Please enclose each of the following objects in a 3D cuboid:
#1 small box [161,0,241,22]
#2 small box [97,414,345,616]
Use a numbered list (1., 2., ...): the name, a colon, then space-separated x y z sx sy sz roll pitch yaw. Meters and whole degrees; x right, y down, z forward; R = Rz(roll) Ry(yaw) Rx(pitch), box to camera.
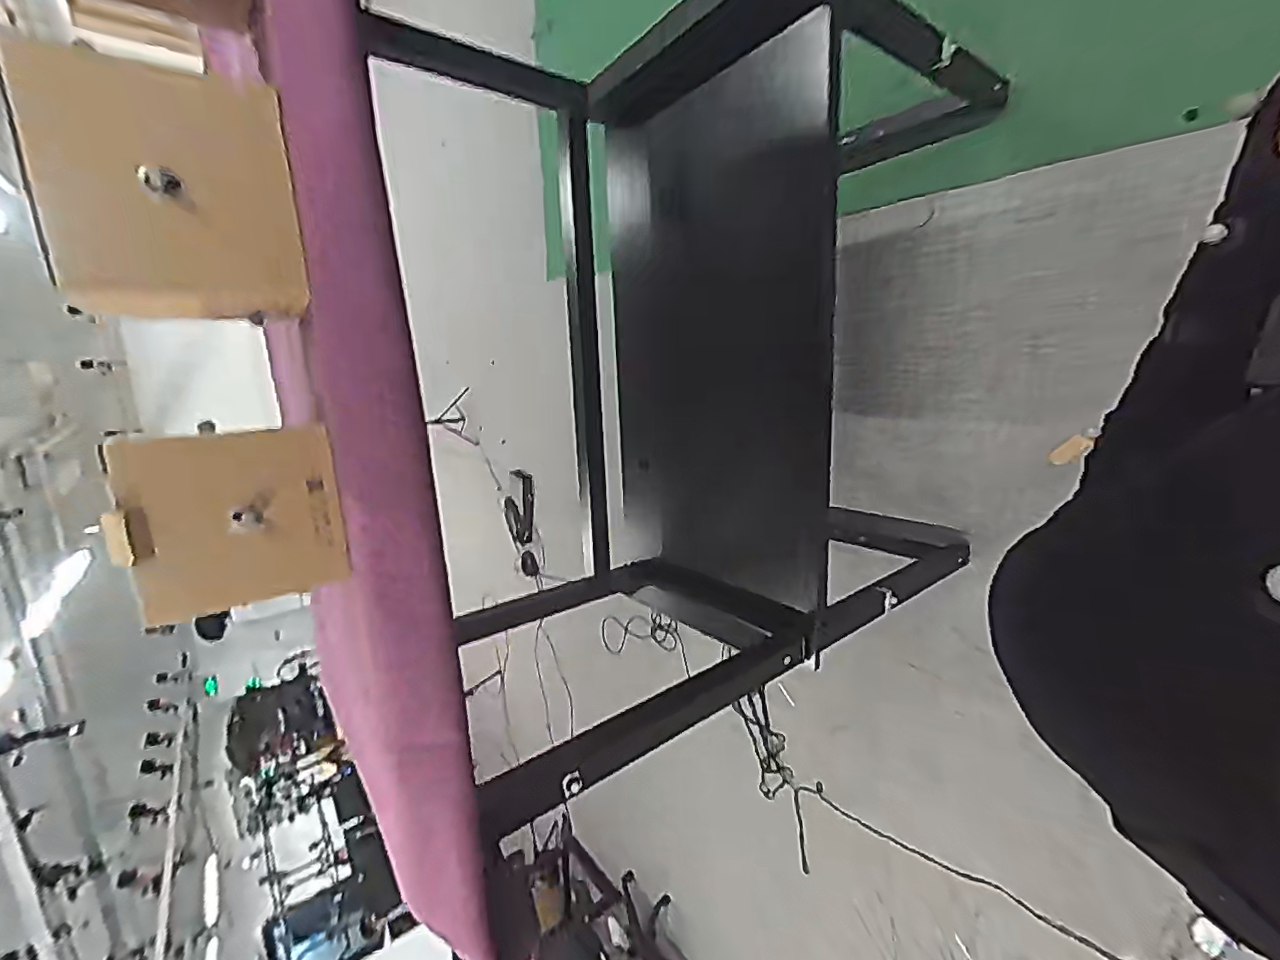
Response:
1. small box: -0.432 -0.525 0.430 0.168 0.176 0.179 13 111 51
2. small box: -0.423 0.021 0.570 0.179 0.176 0.168 6 104 53
